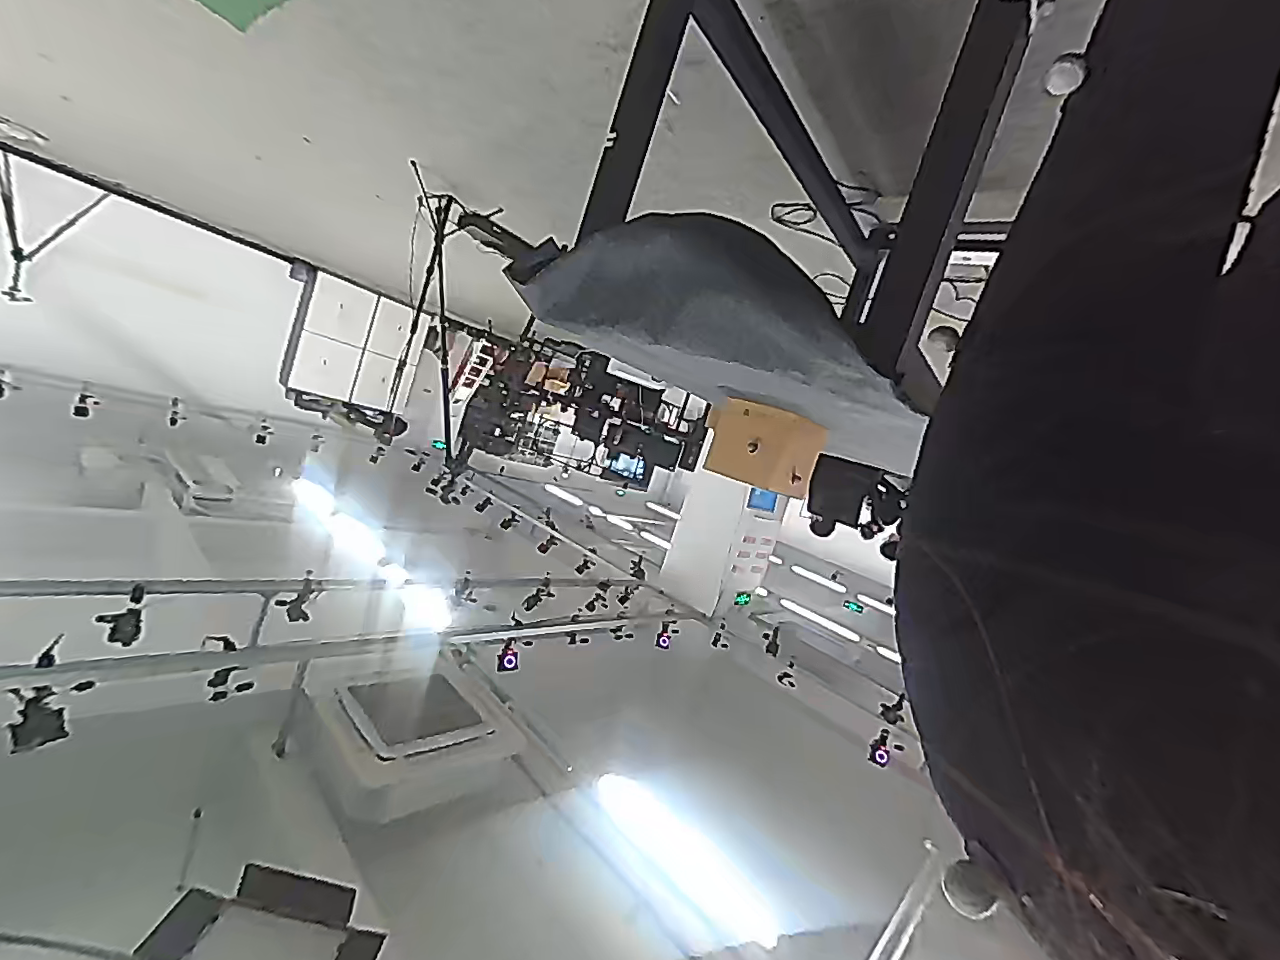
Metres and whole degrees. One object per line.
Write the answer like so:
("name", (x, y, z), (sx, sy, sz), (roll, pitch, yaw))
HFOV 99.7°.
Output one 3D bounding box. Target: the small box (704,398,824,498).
("small box", (0.269, -0.071, 1.166), (0.168, 0.176, 0.179), (21, -173, 41))
